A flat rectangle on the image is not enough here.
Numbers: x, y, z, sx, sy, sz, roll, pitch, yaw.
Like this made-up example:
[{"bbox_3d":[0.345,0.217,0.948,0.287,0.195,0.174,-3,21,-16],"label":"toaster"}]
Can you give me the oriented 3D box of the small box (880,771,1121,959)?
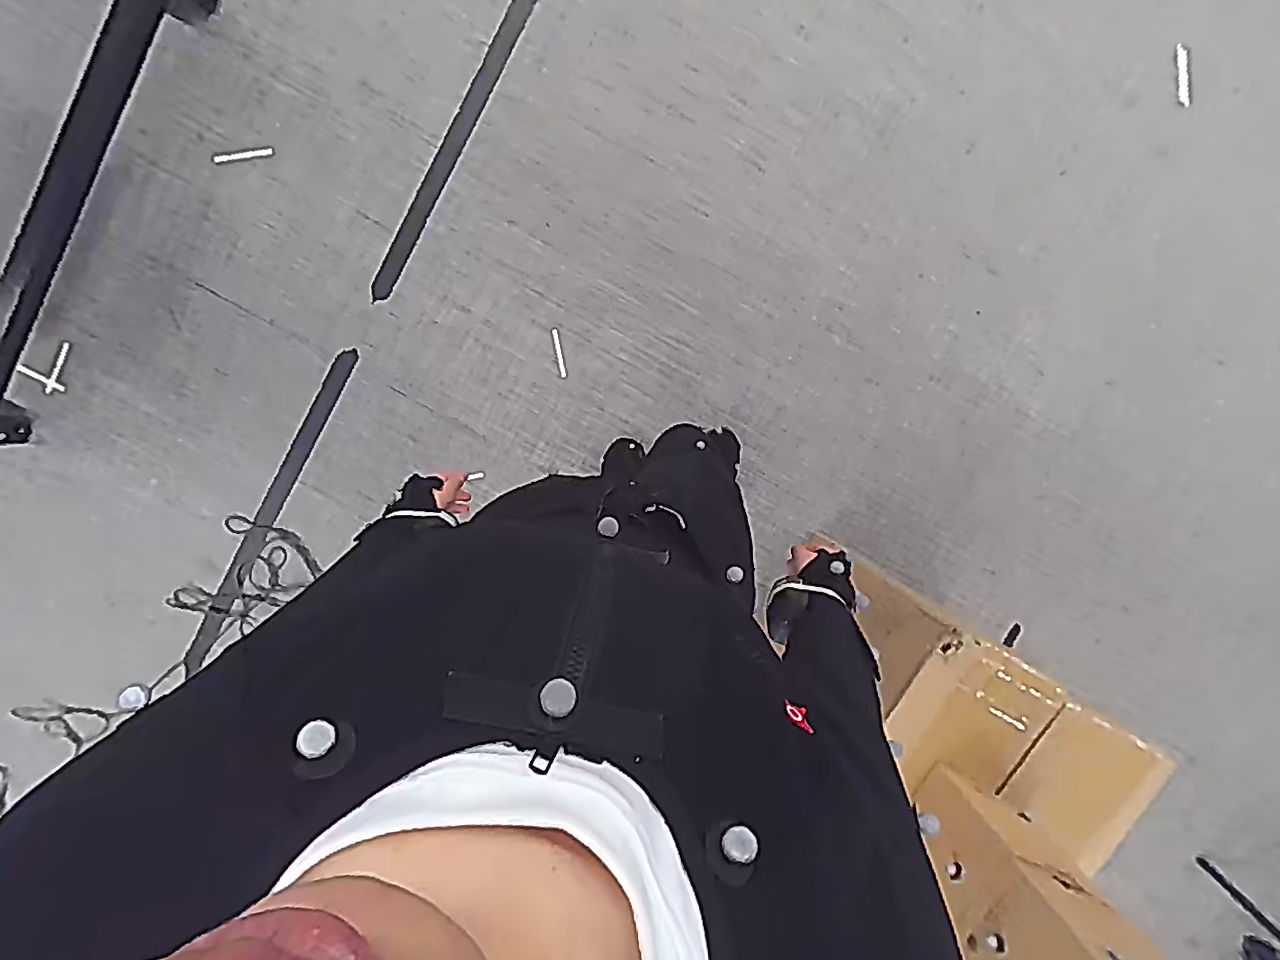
[{"bbox_3d":[0.459,0.537,0.723,0.168,0.176,0.179,30,97,-3],"label":"small box"}]
